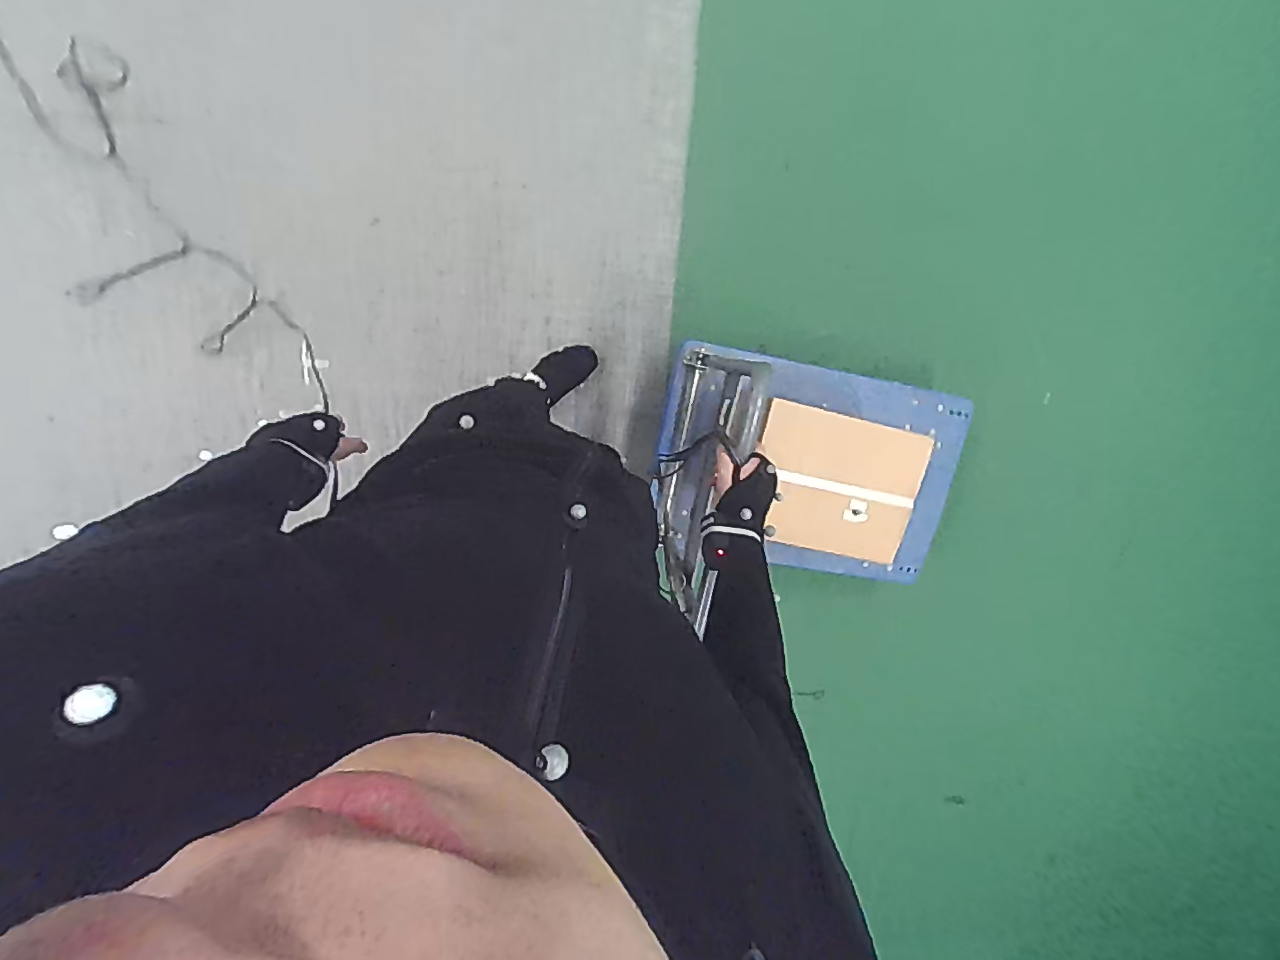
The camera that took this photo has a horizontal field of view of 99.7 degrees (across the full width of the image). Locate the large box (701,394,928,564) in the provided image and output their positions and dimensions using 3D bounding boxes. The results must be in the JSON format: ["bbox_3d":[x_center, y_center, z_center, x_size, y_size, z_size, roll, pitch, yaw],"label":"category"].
[{"bbox_3d":[0.409,-0.017,1.363,0.408,0.320,0.320,13,102,-11],"label":"large box"}]
